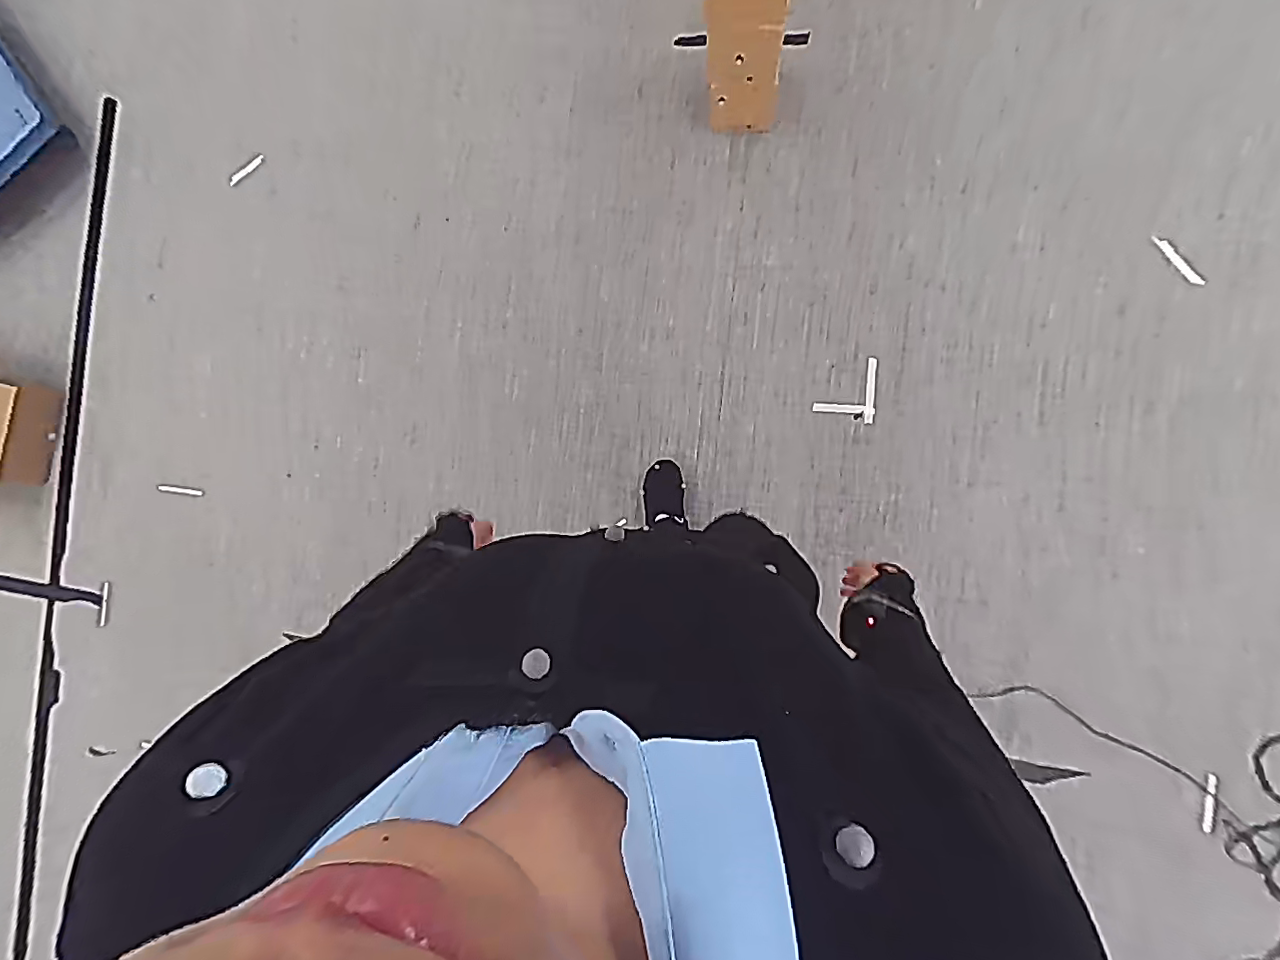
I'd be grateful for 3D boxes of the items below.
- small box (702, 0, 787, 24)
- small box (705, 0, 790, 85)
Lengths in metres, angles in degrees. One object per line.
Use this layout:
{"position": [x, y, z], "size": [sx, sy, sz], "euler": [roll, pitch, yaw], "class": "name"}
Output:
{"position": [0.216, -1.056, 1.075], "size": [0.179, 0.176, 0.168], "euler": [7, 90, 8], "class": "small box"}
{"position": [0.248, -1.048, 1.235], "size": [0.168, 0.176, 0.179], "euler": [11, 90, 7], "class": "small box"}
